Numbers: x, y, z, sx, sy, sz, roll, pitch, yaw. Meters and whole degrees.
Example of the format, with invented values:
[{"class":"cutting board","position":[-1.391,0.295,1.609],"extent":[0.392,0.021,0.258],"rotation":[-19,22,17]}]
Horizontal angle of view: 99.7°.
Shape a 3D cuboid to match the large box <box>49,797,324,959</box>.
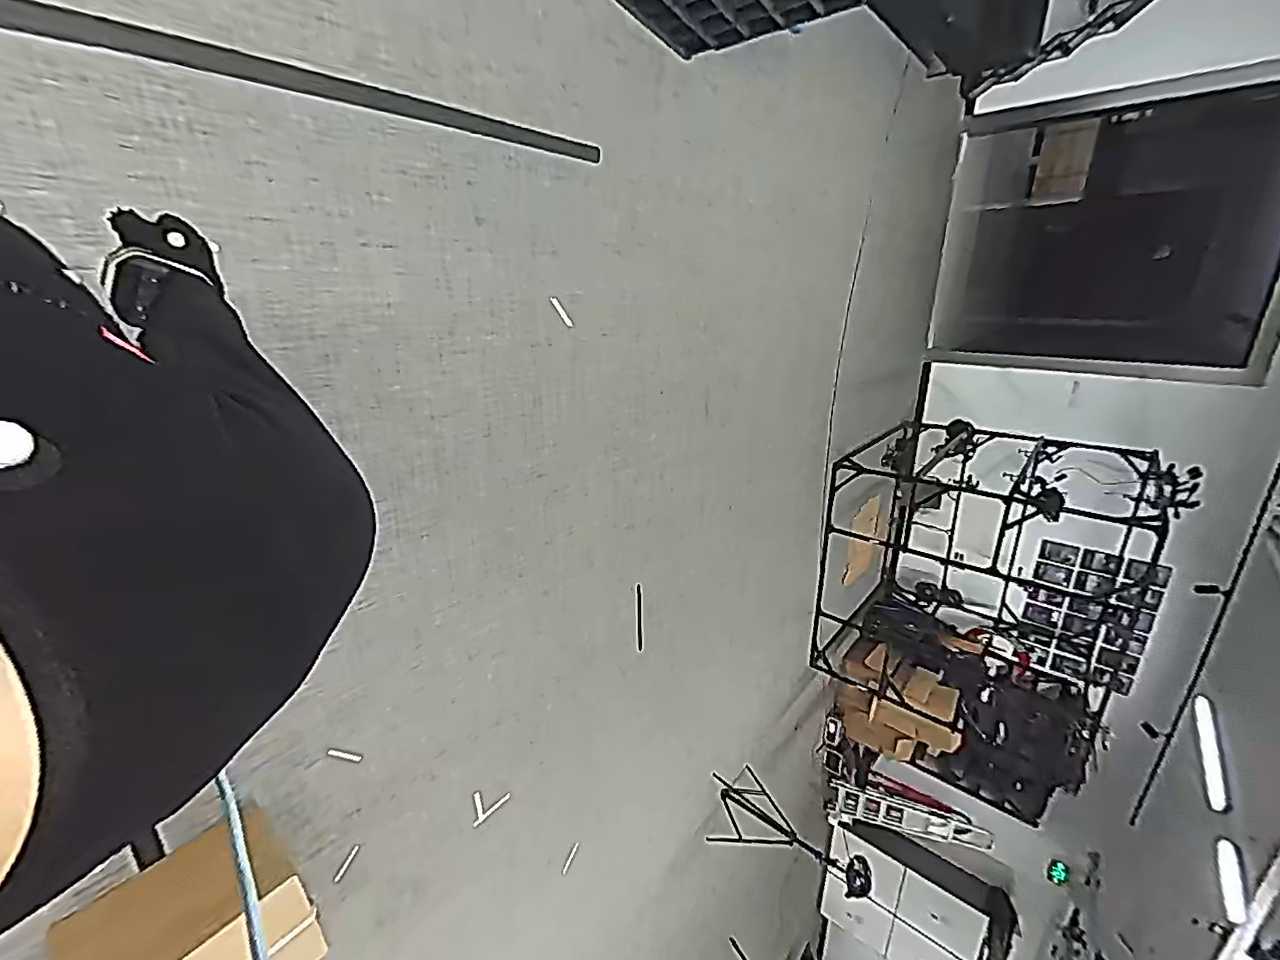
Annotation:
[{"class":"large box","position":[-1.062,1.085,1.298],"extent":[0.408,0.320,0.320],"rotation":[-26,121,-44]}]
